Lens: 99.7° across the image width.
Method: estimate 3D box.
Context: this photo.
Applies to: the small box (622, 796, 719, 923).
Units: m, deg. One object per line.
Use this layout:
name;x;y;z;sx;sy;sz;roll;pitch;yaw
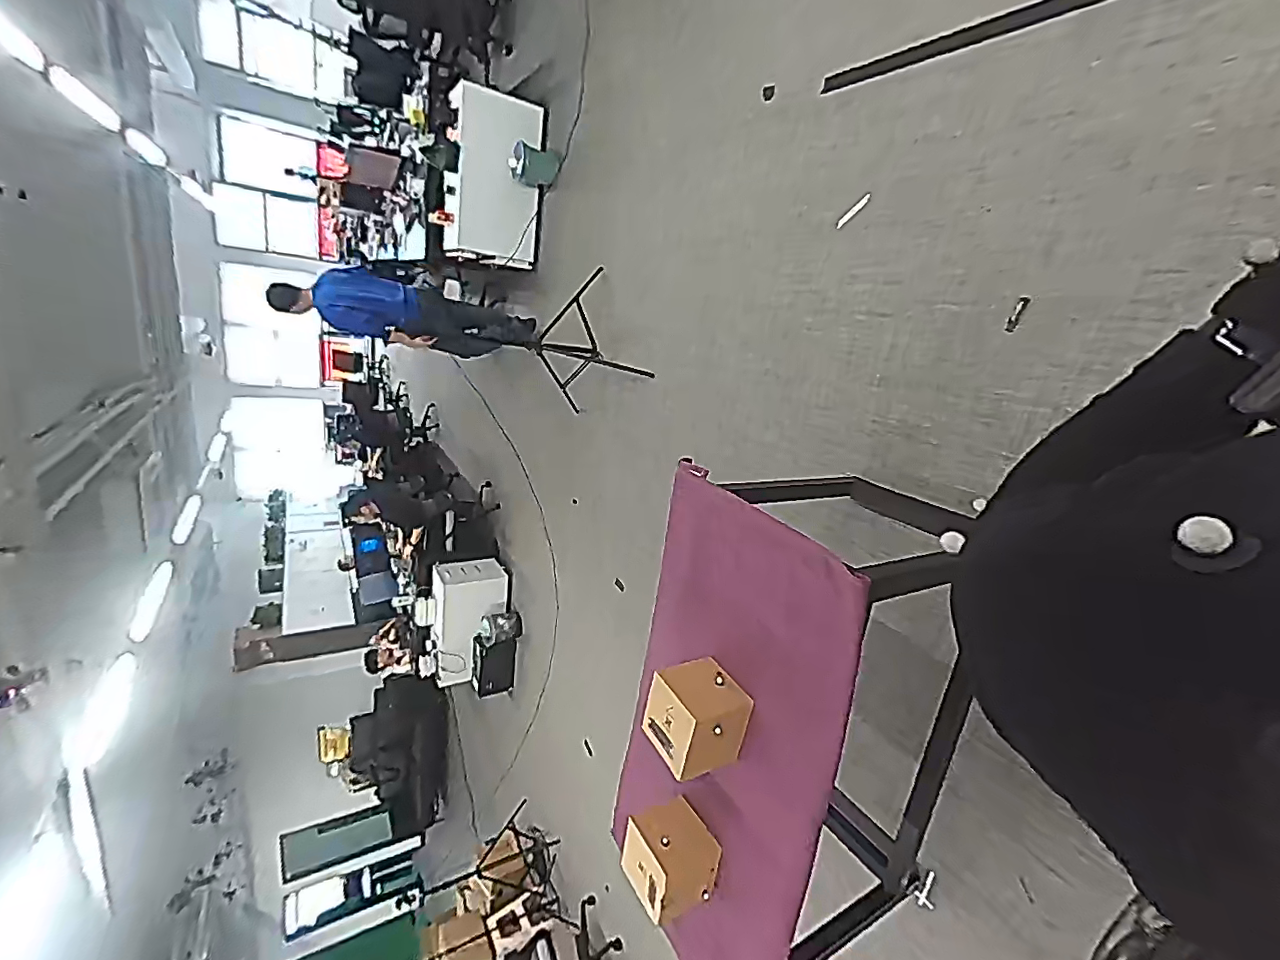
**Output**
small box;0.077;0.943;1.364;0.179;0.176;0.168;32;118;53
